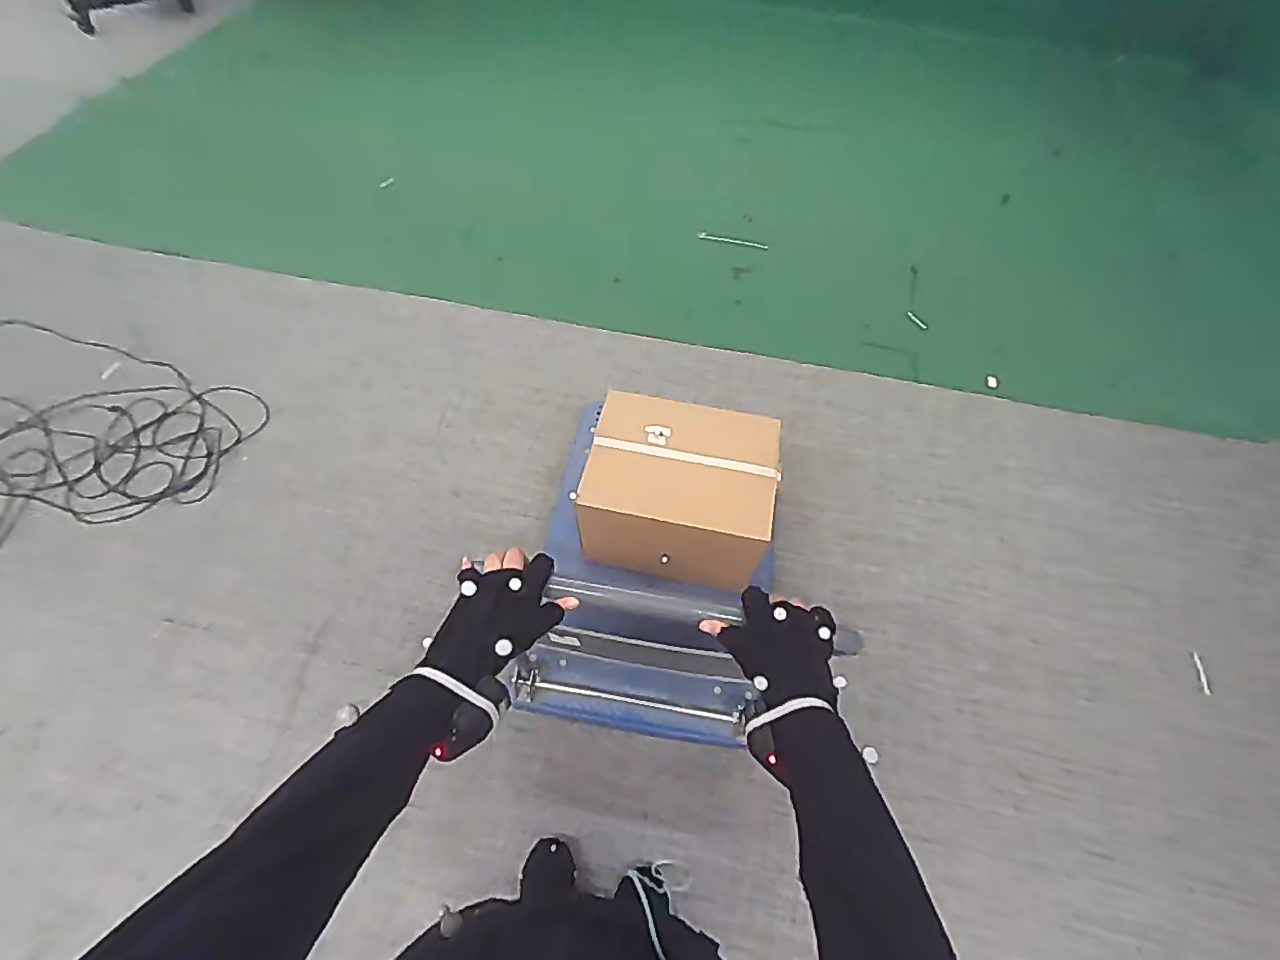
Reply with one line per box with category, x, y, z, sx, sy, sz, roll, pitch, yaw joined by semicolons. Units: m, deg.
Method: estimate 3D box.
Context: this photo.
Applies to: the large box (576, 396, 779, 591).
large box;0.091;0.041;1.290;0.408;0.320;0.320;11;59;6
